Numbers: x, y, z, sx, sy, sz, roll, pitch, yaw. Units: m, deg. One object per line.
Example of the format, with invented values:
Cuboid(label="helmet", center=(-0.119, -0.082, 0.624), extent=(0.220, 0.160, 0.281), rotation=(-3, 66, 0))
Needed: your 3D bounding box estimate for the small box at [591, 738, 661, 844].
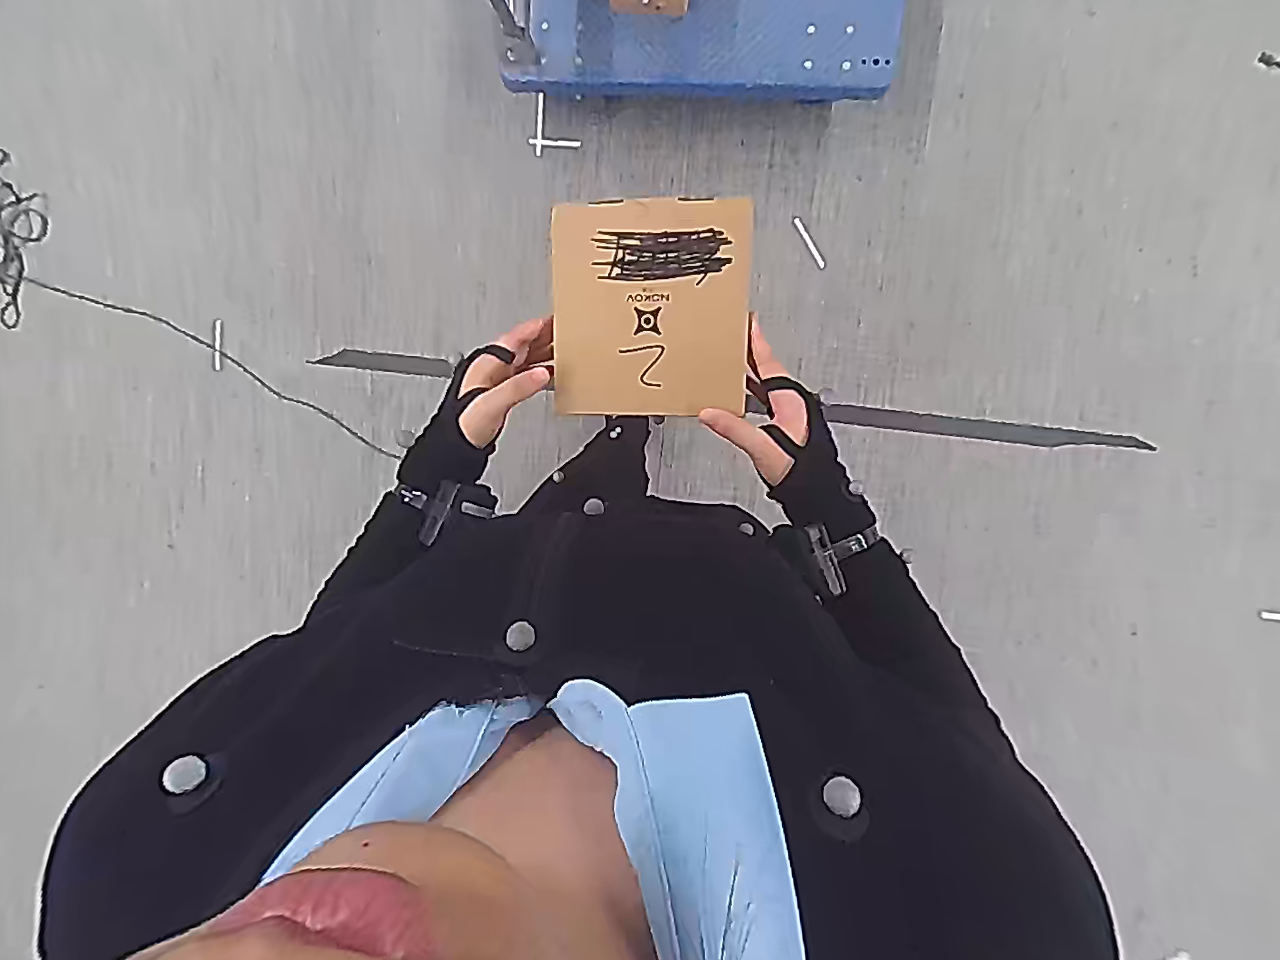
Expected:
Cuboid(label="small box", center=(-0.033, 0.836, 1.466), extent=(0.168, 0.176, 0.179), rotation=(4, 95, 4))

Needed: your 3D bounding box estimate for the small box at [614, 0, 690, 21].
Cuboid(label="small box", center=(0.027, -1.077, 1.078), extent=(0.168, 0.176, 0.179), rotation=(8, 97, 4))
